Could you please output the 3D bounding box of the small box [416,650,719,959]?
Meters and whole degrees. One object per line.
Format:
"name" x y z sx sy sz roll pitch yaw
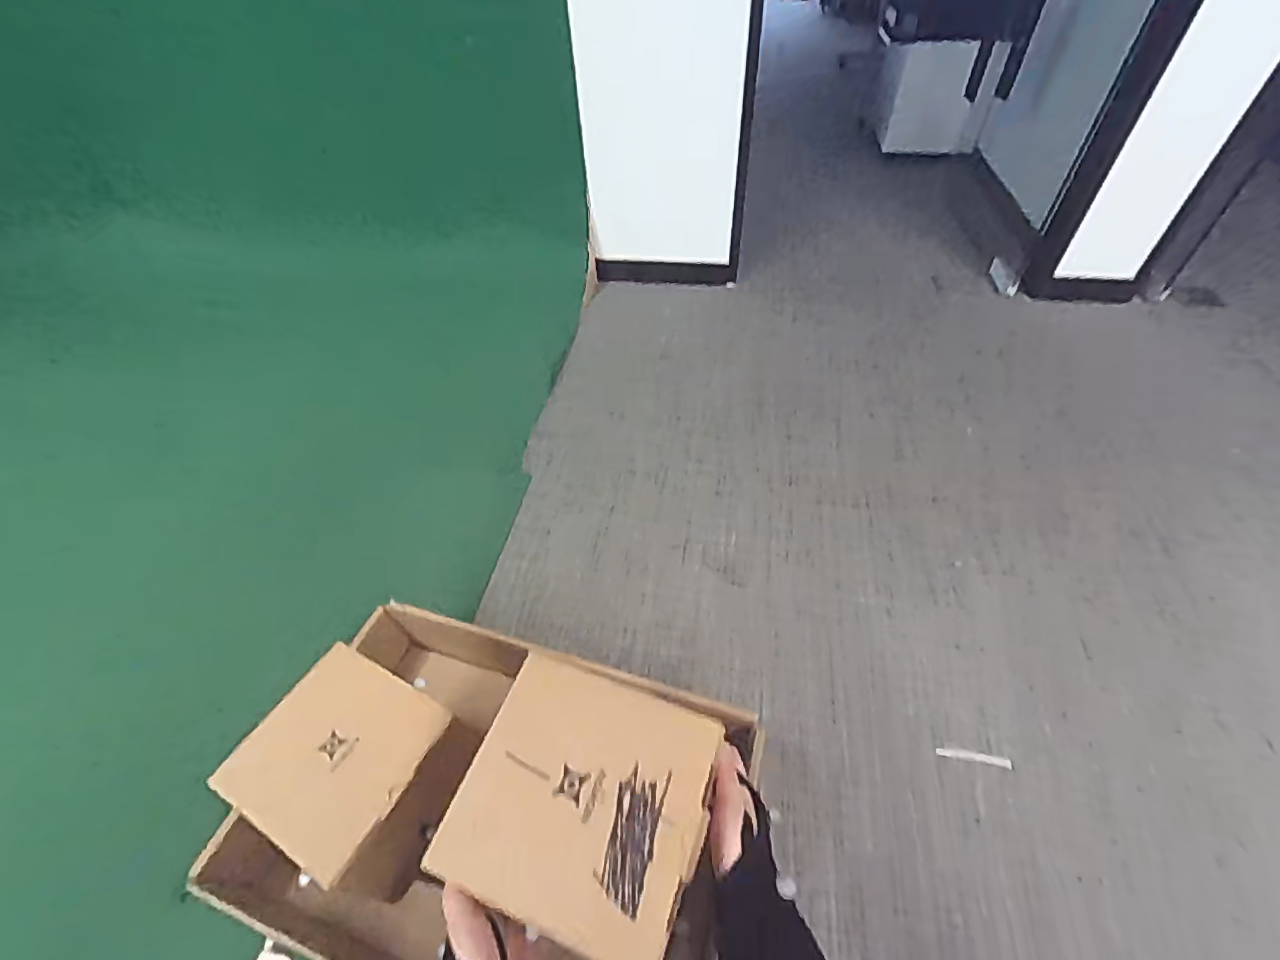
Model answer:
"small box" -0.042 0.275 0.458 0.179 0.176 0.168 15 55 17
